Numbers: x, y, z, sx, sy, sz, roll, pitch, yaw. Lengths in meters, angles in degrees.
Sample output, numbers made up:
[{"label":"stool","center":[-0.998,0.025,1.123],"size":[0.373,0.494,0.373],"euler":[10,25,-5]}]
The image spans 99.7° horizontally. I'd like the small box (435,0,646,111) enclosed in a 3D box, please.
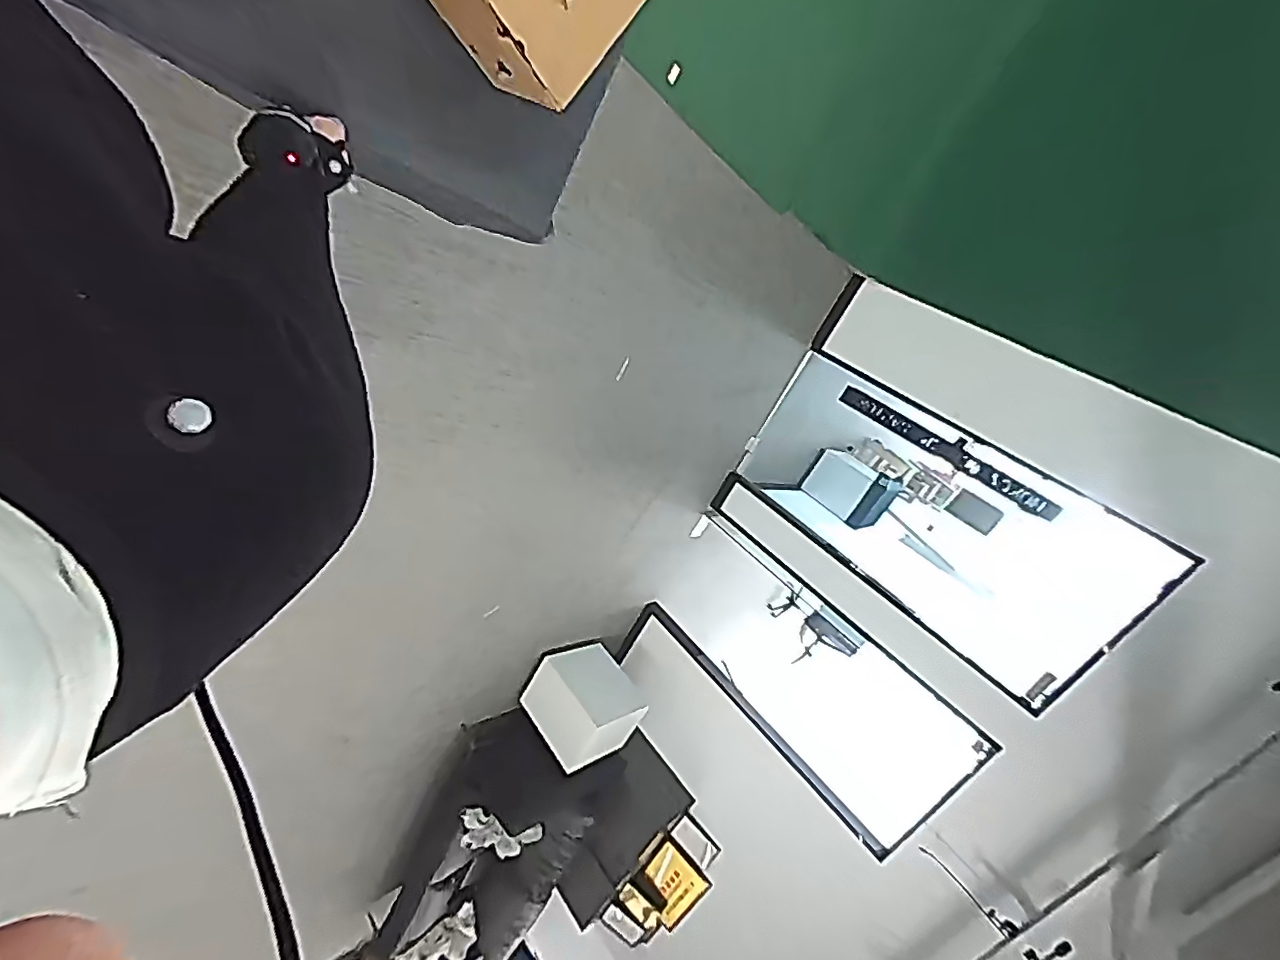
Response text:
[{"label":"small box","center":[-0.131,-0.584,0.629],"size":[0.179,0.176,0.168],"euler":[-51,149,4]}]
